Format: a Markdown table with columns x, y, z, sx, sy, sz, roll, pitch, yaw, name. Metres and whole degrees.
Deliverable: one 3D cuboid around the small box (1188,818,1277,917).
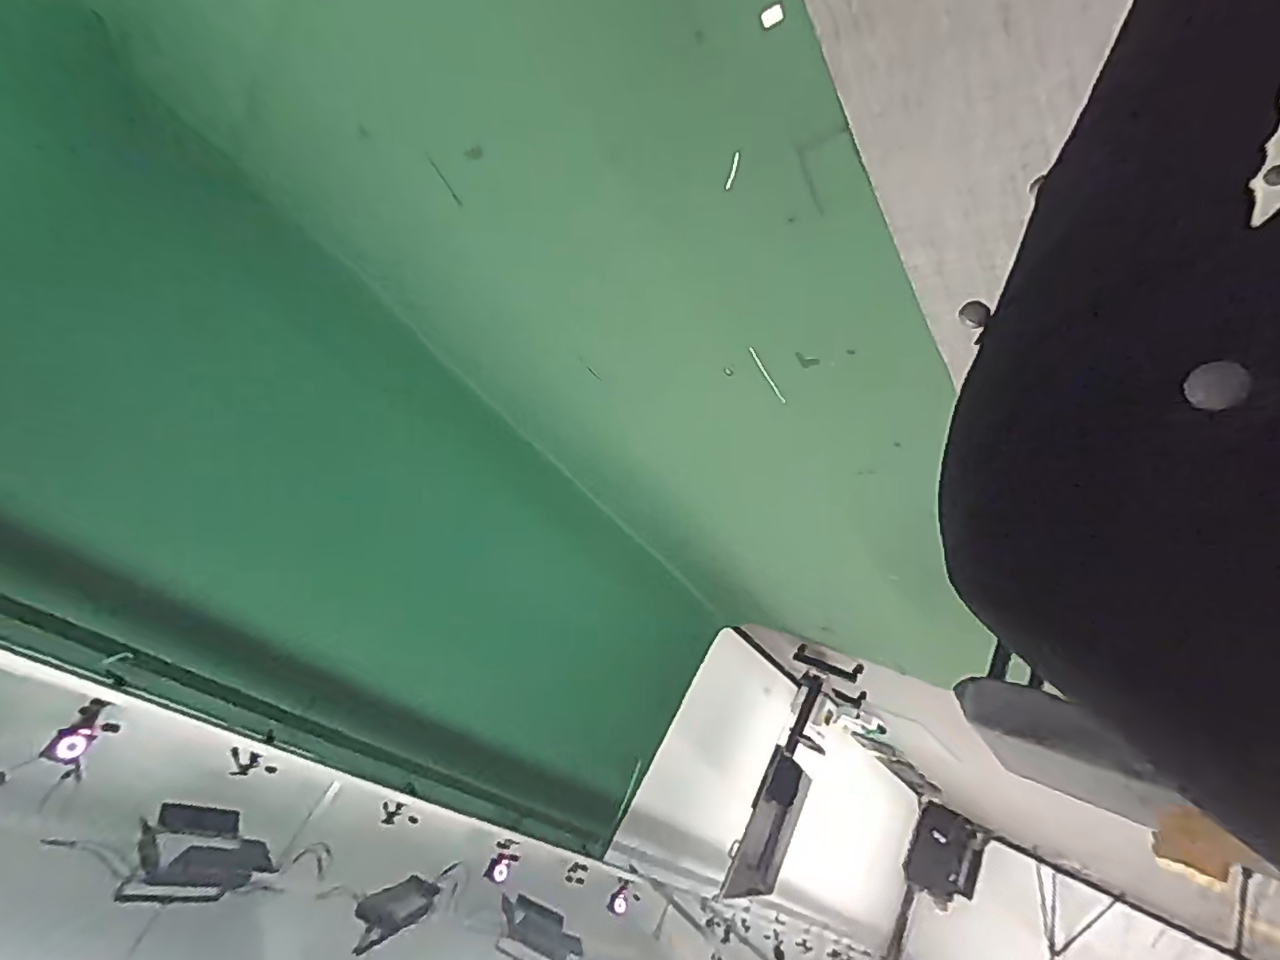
| x | y | z | sx | sy | sz | roll | pitch | yaw | name |
| --- | --- | --- | --- | --- | --- | --- | --- | --- | --- |
| 1.778 | 1.155 | 1.625 | 0.179 | 0.176 | 0.168 | 45 | 157 | -30 | small box |
